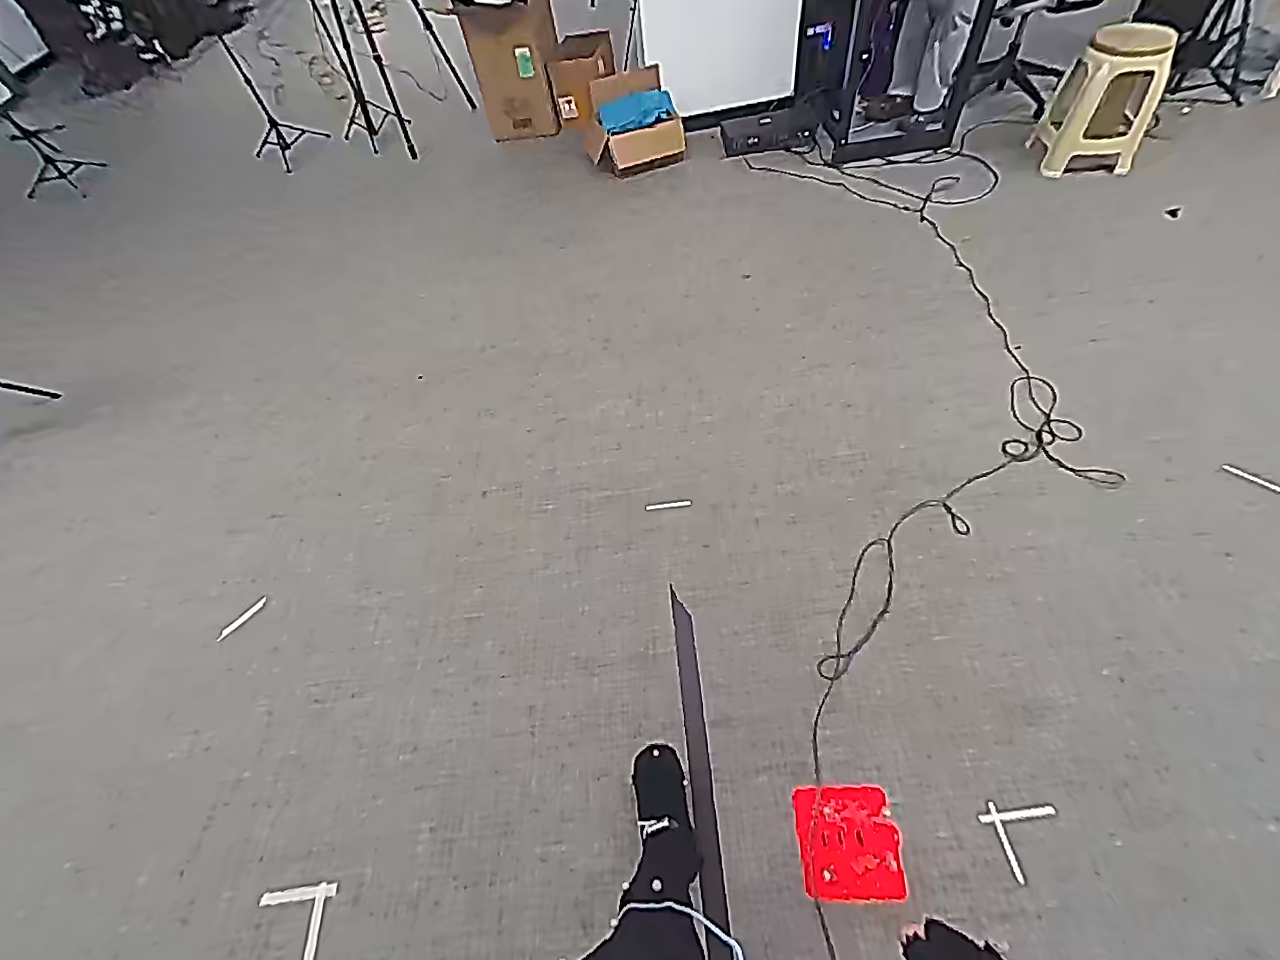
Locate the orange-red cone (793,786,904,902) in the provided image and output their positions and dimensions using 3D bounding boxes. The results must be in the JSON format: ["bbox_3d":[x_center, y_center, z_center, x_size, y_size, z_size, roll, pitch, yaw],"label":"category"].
[{"bbox_3d":[0.406,0.651,0.978,0.199,0.360,0.198,-3,56,5],"label":"orange-red cone"}]
